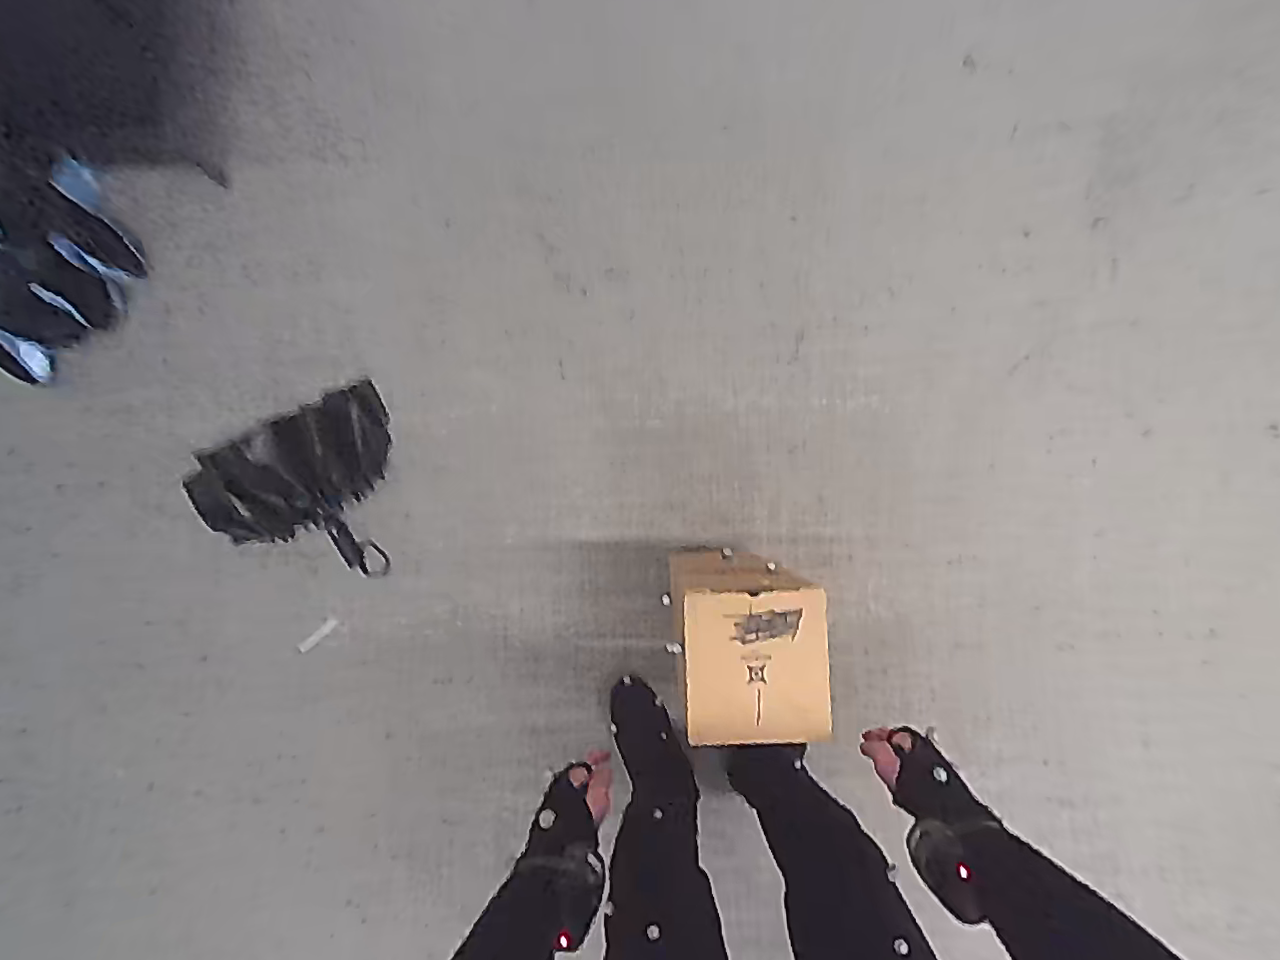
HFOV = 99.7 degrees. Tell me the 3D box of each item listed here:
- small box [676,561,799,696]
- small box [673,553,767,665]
[{"bbox_3d":[0.144,0.223,0.847,0.168,0.176,0.179,-2,85,1],"label":"small box"},{"bbox_3d":[0.149,0.234,1.009,0.168,0.176,0.179,-3,87,1],"label":"small box"}]
